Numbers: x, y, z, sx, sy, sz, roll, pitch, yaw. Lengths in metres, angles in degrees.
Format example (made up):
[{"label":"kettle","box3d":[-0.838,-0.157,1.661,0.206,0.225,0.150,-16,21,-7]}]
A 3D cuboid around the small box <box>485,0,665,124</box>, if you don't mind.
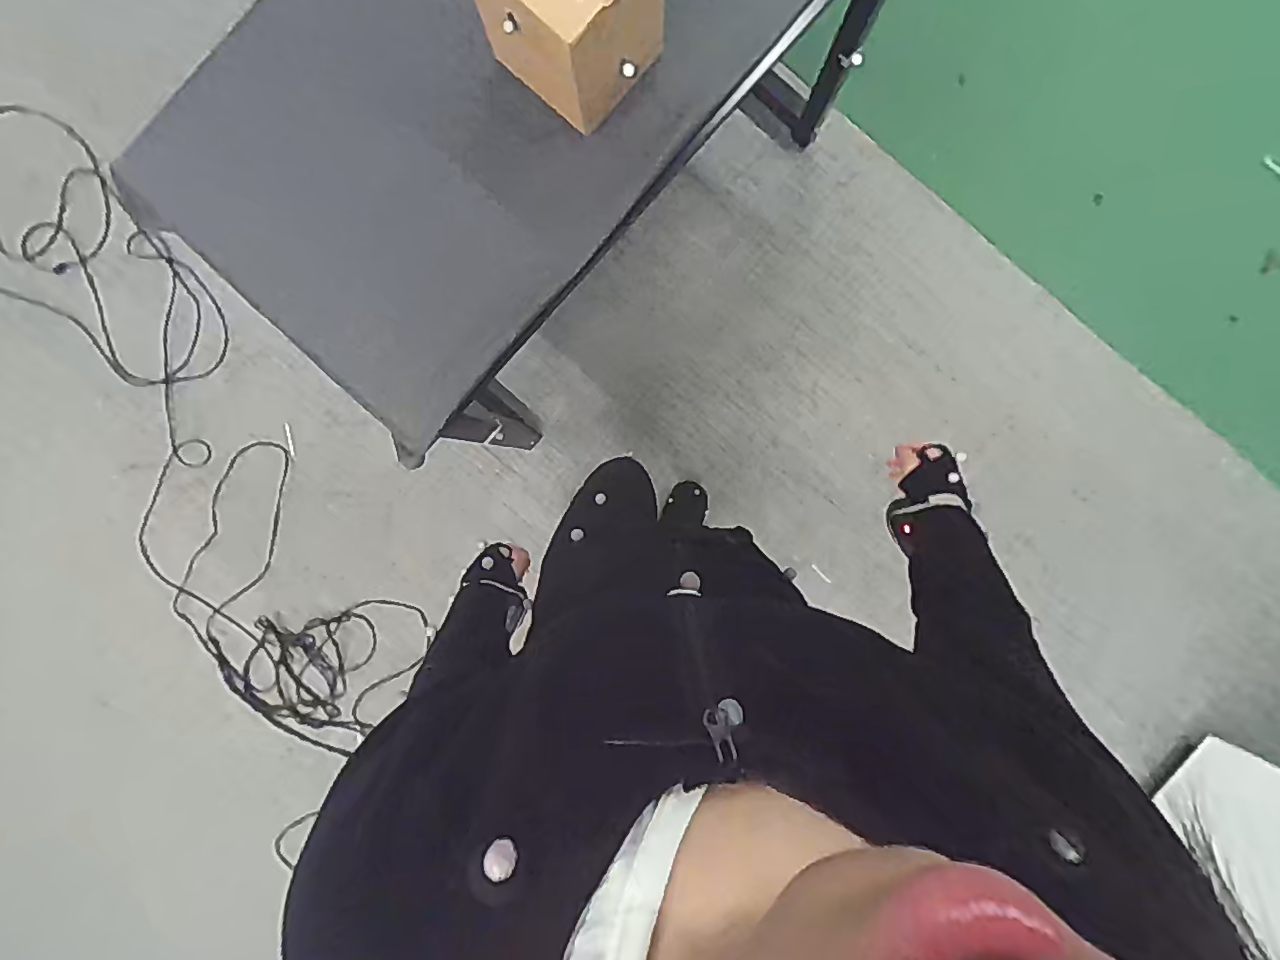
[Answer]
[{"label":"small box","box3d":[-0.084,-0.604,0.678,0.179,0.176,0.168,41,92,0]}]
